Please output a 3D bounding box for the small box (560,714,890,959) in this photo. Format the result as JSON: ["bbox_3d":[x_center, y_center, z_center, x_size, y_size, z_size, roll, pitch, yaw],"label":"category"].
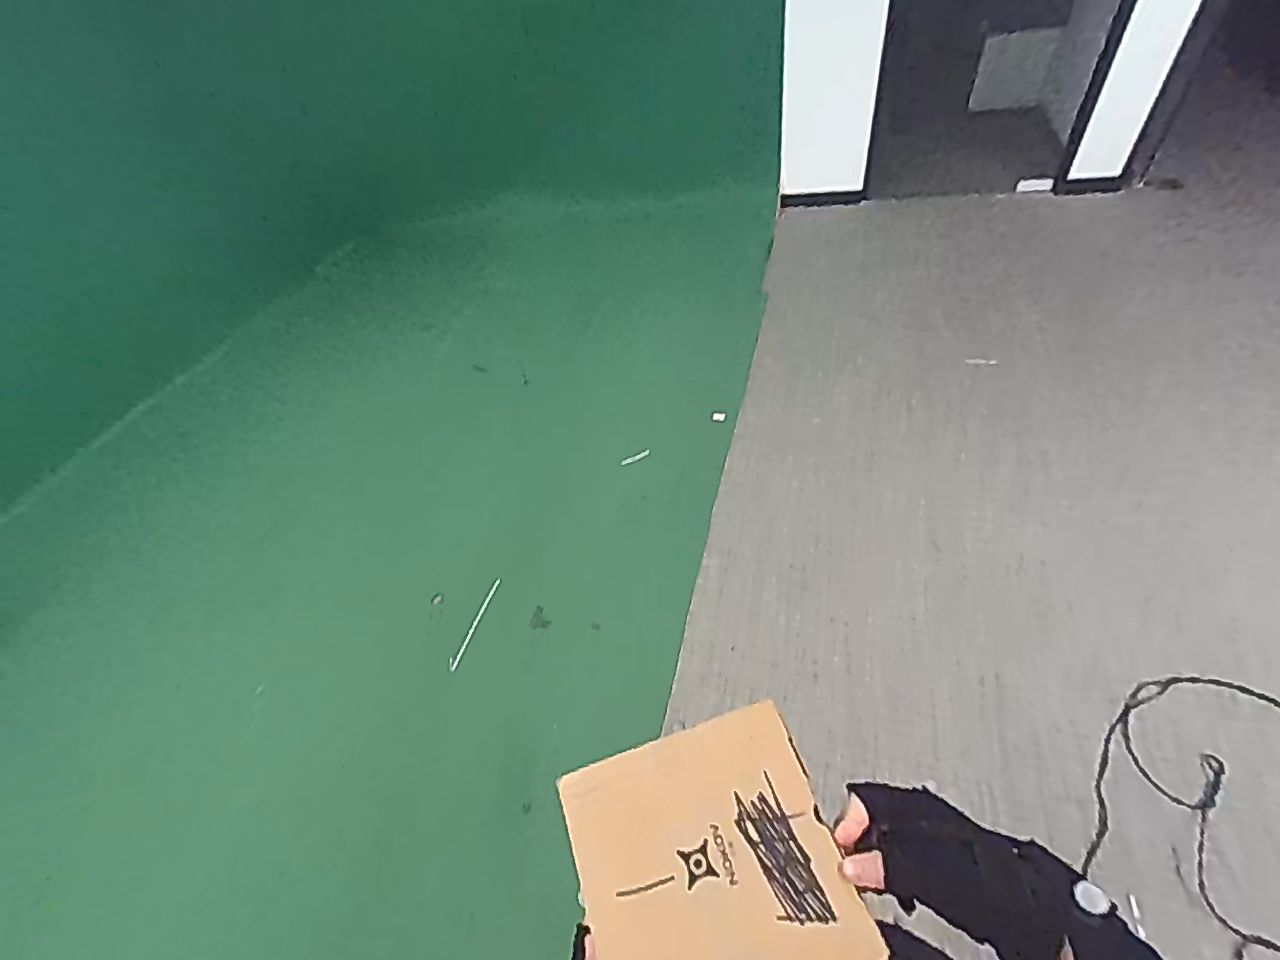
[{"bbox_3d":[0.050,0.306,0.419,0.179,0.176,0.168,-17,56,-9],"label":"small box"}]
